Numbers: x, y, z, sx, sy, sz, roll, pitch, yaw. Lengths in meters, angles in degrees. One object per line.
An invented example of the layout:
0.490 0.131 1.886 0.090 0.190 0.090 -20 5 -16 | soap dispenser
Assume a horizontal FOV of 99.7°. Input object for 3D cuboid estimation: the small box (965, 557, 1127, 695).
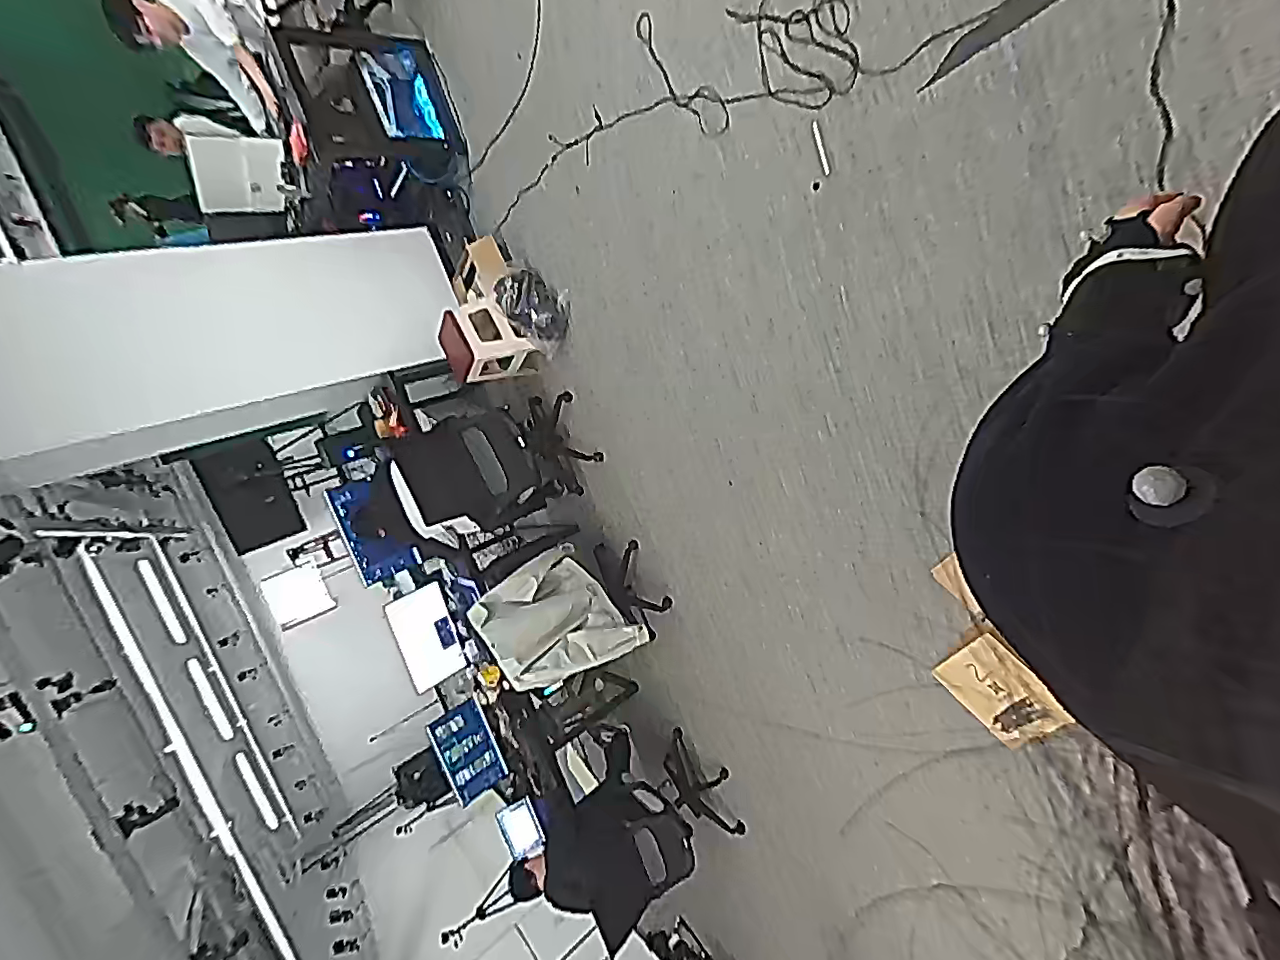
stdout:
0.811 0.285 1.080 0.179 0.176 0.168 48 142 26 | small box
